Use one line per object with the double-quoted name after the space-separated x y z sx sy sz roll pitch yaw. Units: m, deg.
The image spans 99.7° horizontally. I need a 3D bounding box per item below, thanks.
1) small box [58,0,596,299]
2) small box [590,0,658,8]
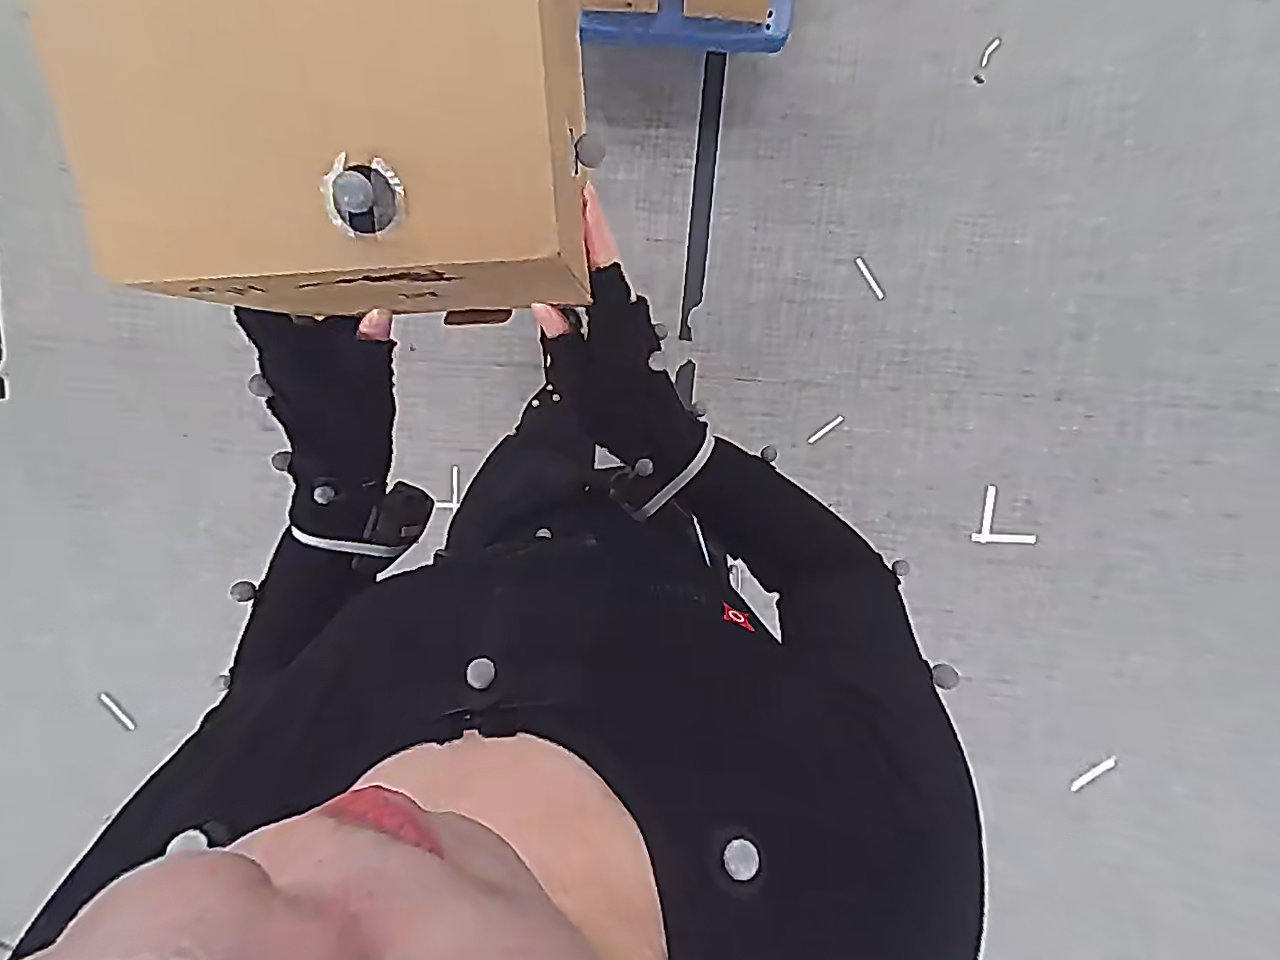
-0.112 -0.183 0.257 0.168 0.179 0.176 -3 104 1 "small box"
-0.040 -1.050 1.027 0.168 0.176 0.179 3 99 -1 "small box"
